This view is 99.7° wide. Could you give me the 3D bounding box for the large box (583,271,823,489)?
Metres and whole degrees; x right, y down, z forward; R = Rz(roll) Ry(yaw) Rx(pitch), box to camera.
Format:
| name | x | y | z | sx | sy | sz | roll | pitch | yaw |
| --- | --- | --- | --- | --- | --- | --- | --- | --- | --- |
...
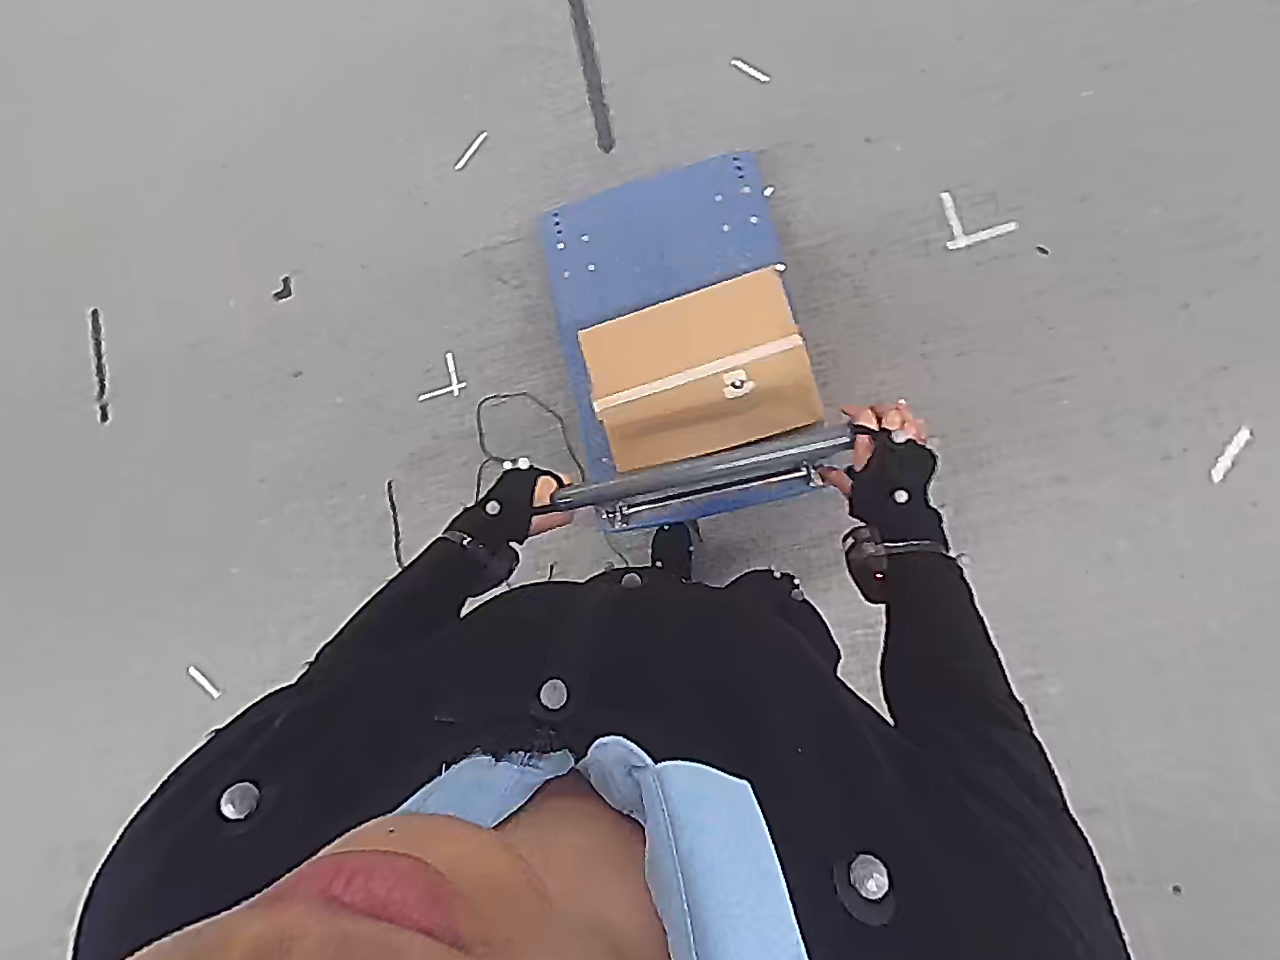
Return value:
| name | x | y | z | sx | sy | sz | roll | pitch | yaw |
| --- | --- | --- | --- | --- | --- | --- | --- | --- | --- |
| large box | 0.133 | -0.189 | 1.191 | 0.408 | 0.320 | 0.320 | -17 | 85 | 6 |
